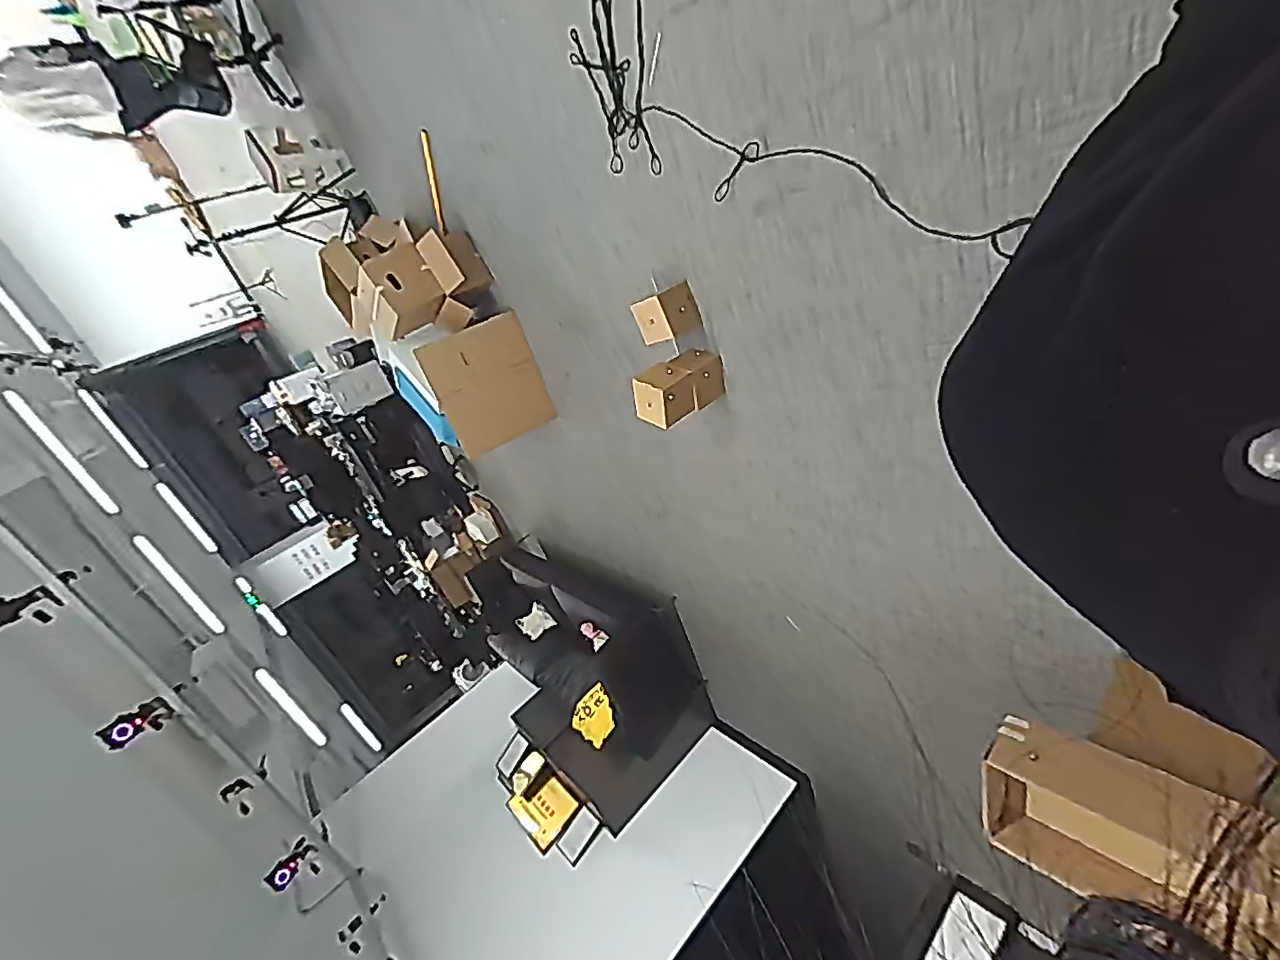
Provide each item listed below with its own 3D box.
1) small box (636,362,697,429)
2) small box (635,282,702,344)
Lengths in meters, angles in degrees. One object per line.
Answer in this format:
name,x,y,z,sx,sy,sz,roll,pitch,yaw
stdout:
small box,0.110,-0.332,2.101,0.168,0.176,0.179,30,142,38
small box,0.117,-0.645,2.086,0.179,0.176,0.168,4,124,55
